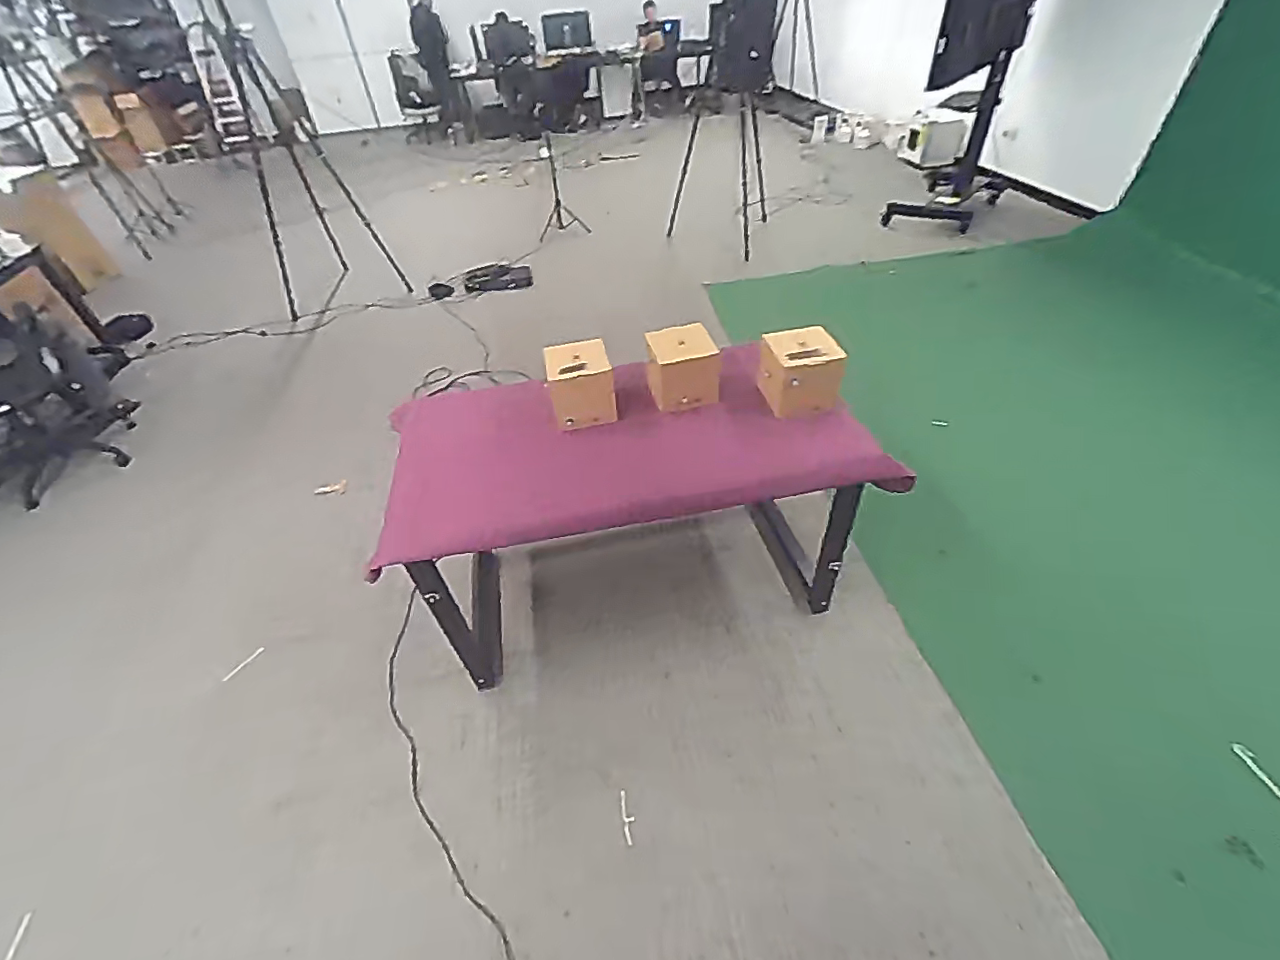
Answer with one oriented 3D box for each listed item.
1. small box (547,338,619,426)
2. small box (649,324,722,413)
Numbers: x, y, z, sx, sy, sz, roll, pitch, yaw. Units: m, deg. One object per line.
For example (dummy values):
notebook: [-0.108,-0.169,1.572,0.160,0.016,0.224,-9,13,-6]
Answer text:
small box: [-0.155,-0.264,1.492,0.168,0.176,0.179,-10,43,-6]
small box: [0.124,-0.312,1.519,0.168,0.176,0.179,-12,45,-6]
